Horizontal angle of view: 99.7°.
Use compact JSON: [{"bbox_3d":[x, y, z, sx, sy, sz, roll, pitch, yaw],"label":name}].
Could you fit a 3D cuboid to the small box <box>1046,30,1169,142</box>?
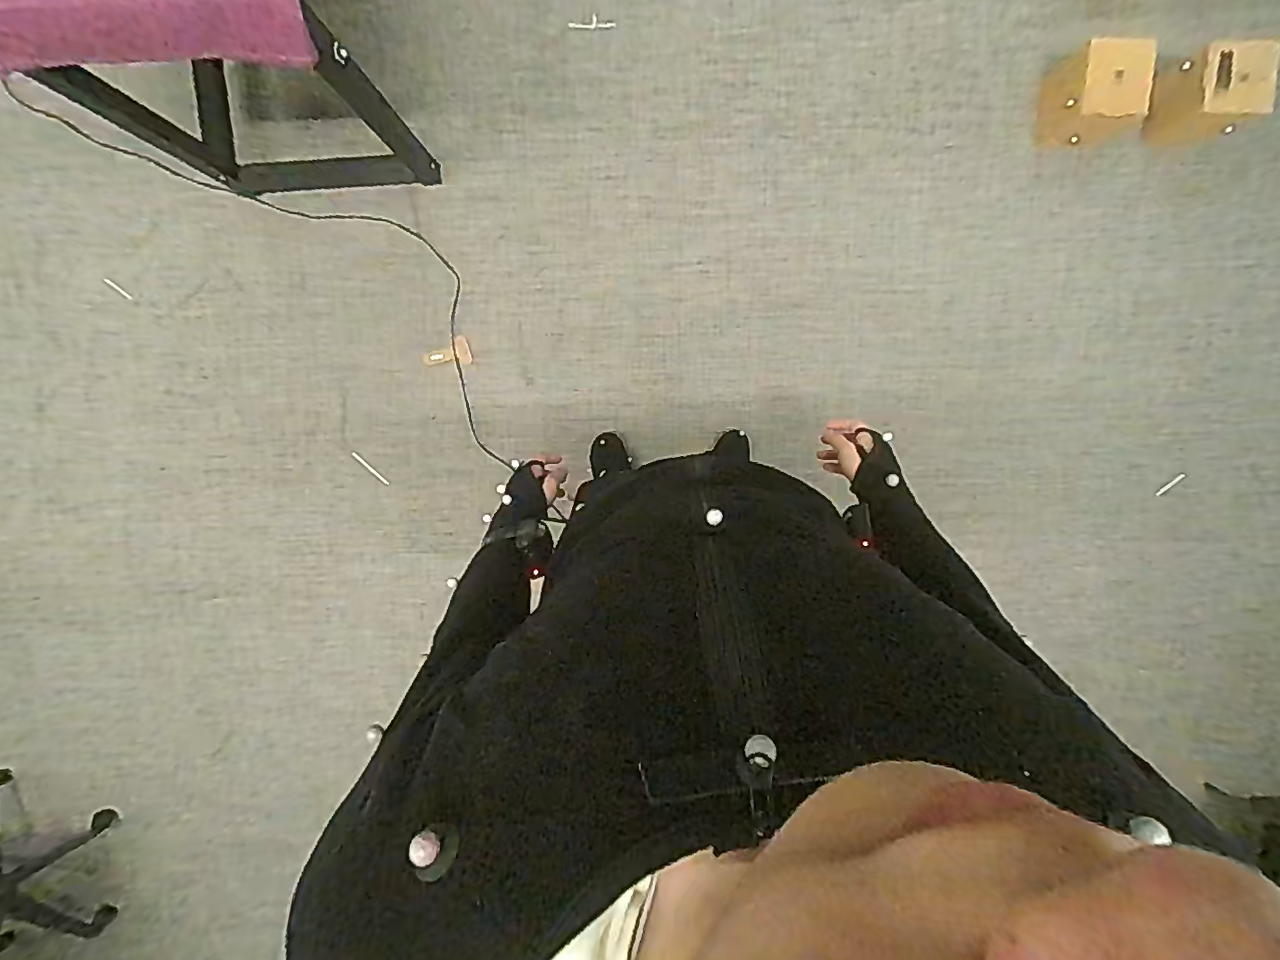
[{"bbox_3d":[1.193,-1.009,1.394,0.168,0.176,0.179,2,98,1],"label":"small box"}]
